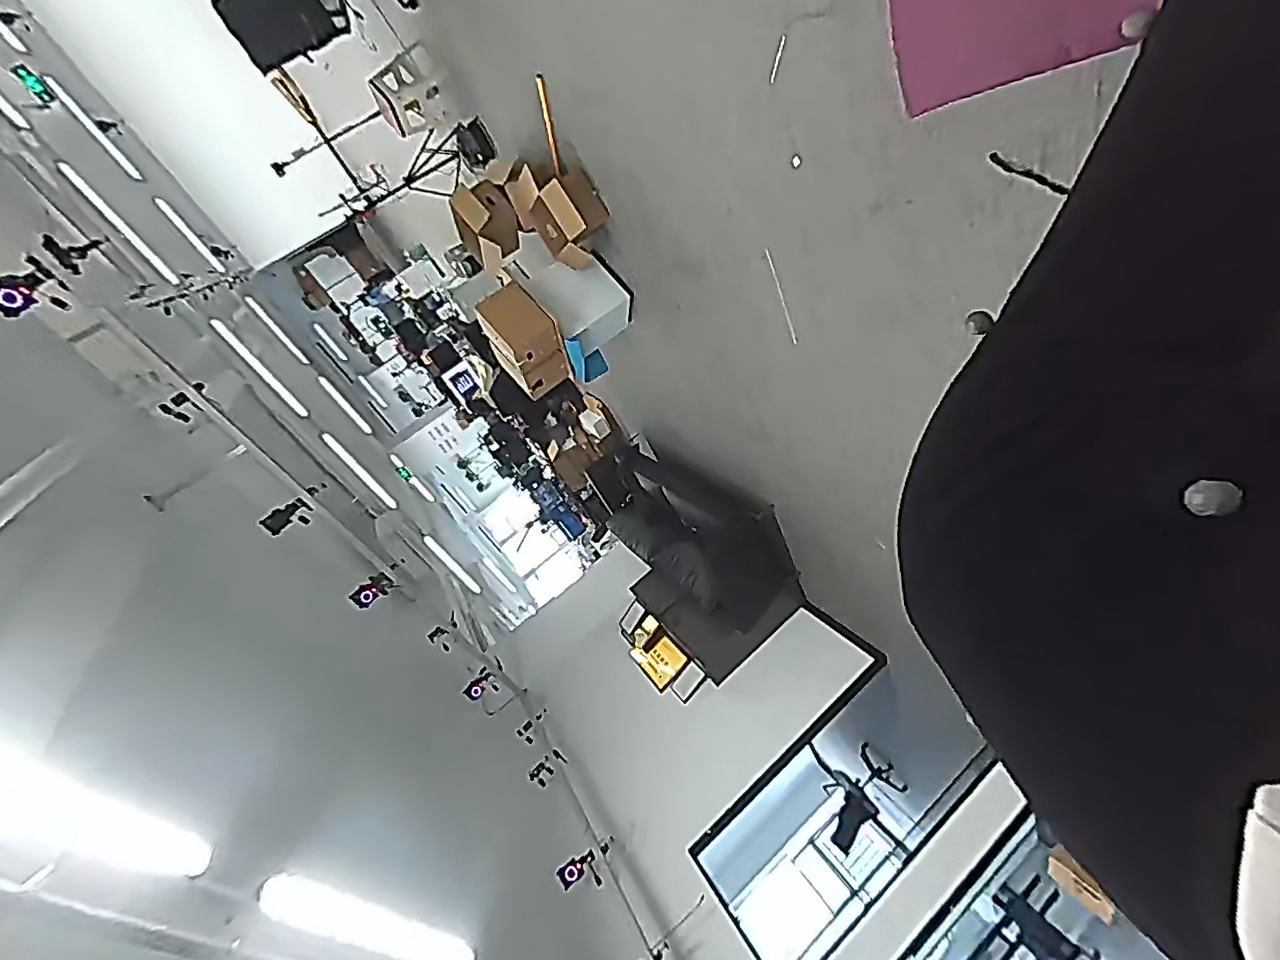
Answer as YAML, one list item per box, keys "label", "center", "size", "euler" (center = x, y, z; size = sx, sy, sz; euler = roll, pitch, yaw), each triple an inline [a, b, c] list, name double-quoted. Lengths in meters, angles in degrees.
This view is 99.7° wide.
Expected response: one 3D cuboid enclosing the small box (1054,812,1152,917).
- label: "small box"
  center: [1.374, 1.137, 1.608]
  size: [0.168, 0.176, 0.179]
  euler: [36, 159, 53]
